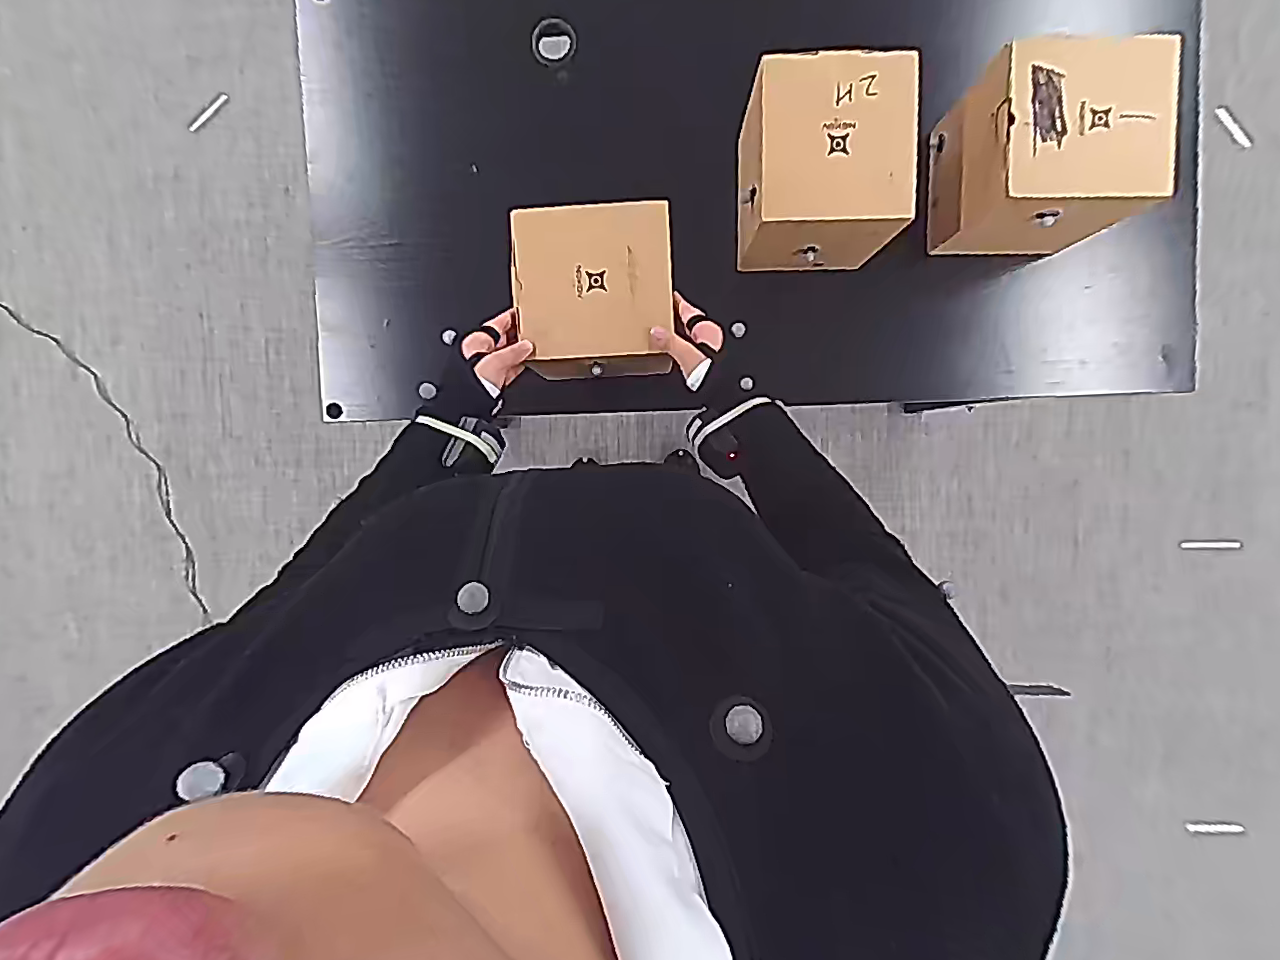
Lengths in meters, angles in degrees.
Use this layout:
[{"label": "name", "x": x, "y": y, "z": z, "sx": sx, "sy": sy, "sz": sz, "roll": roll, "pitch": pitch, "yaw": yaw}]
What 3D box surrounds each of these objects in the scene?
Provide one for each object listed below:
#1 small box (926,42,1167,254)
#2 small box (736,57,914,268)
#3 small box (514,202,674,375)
[{"label": "small box", "x": 0.475, "y": -0.387, "z": 0.660, "sx": 0.179, "sy": 0.176, "sz": 0.168, "roll": 0, "pitch": 93, "yaw": 1}, {"label": "small box", "x": 0.215, "y": -0.372, "z": 0.667, "sx": 0.168, "sy": 0.176, "sz": 0.179, "roll": 0, "pitch": 93, "yaw": 1}, {"label": "small box", "x": -0.049, "y": -0.227, "z": 0.684, "sx": 0.179, "sy": 0.176, "sz": 0.168, "roll": -3, "pitch": 94, "yaw": 1}]
